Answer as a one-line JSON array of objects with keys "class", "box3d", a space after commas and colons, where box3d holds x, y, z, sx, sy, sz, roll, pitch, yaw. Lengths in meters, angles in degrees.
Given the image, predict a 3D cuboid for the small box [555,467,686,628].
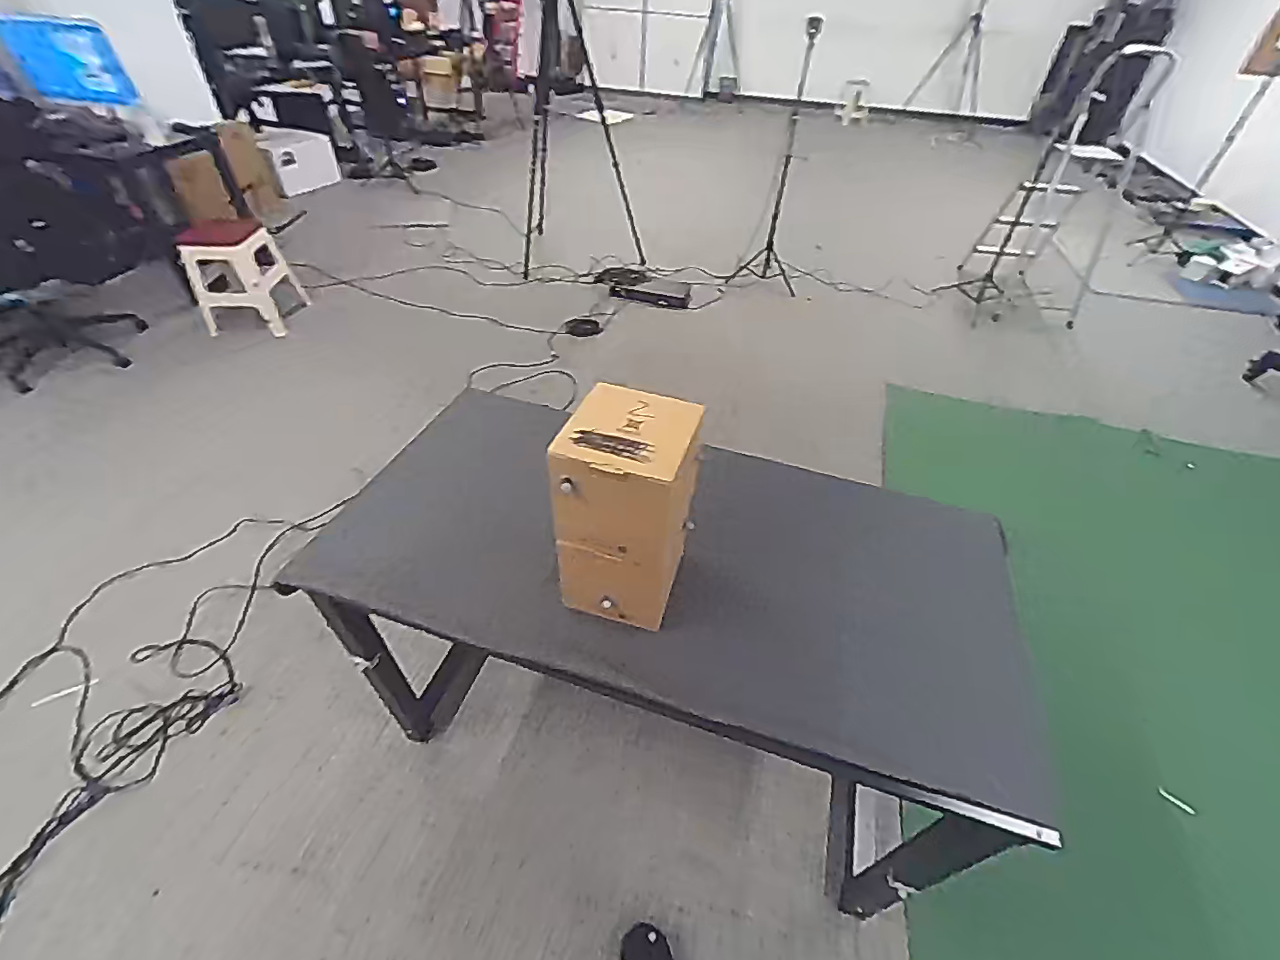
[{"class": "small box", "box3d": [-0.030, 0.109, 0.889, 0.168, 0.176, 0.179, 13, 45, 10]}]
